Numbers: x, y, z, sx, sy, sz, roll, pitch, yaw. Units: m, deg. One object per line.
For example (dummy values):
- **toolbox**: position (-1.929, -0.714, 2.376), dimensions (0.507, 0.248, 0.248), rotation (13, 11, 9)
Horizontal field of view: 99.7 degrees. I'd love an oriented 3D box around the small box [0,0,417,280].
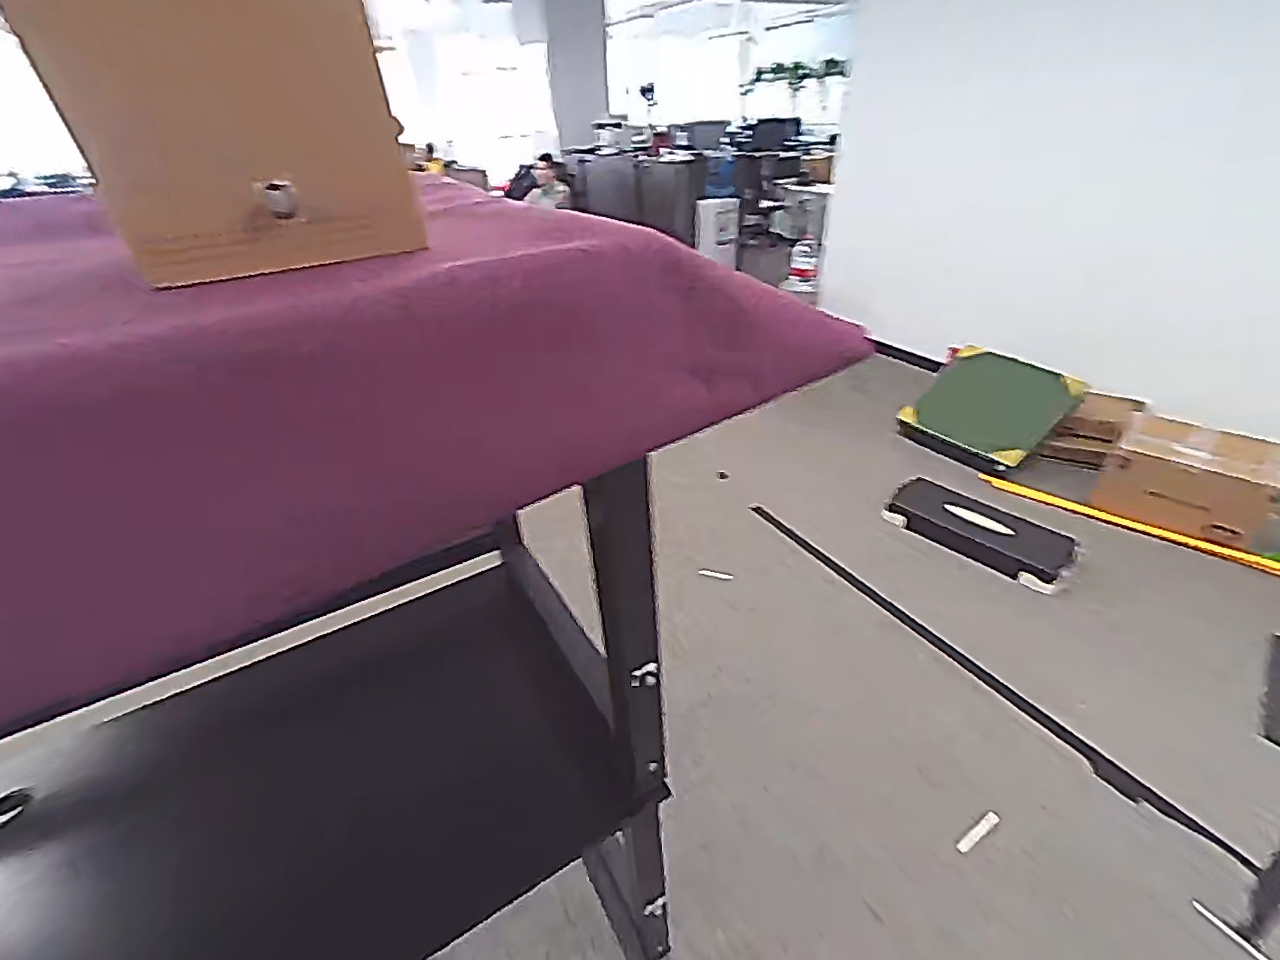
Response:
- **small box**: position (-0.270, -0.251, 0.377), dimensions (0.179, 0.176, 0.168), rotation (-19, 36, -22)
